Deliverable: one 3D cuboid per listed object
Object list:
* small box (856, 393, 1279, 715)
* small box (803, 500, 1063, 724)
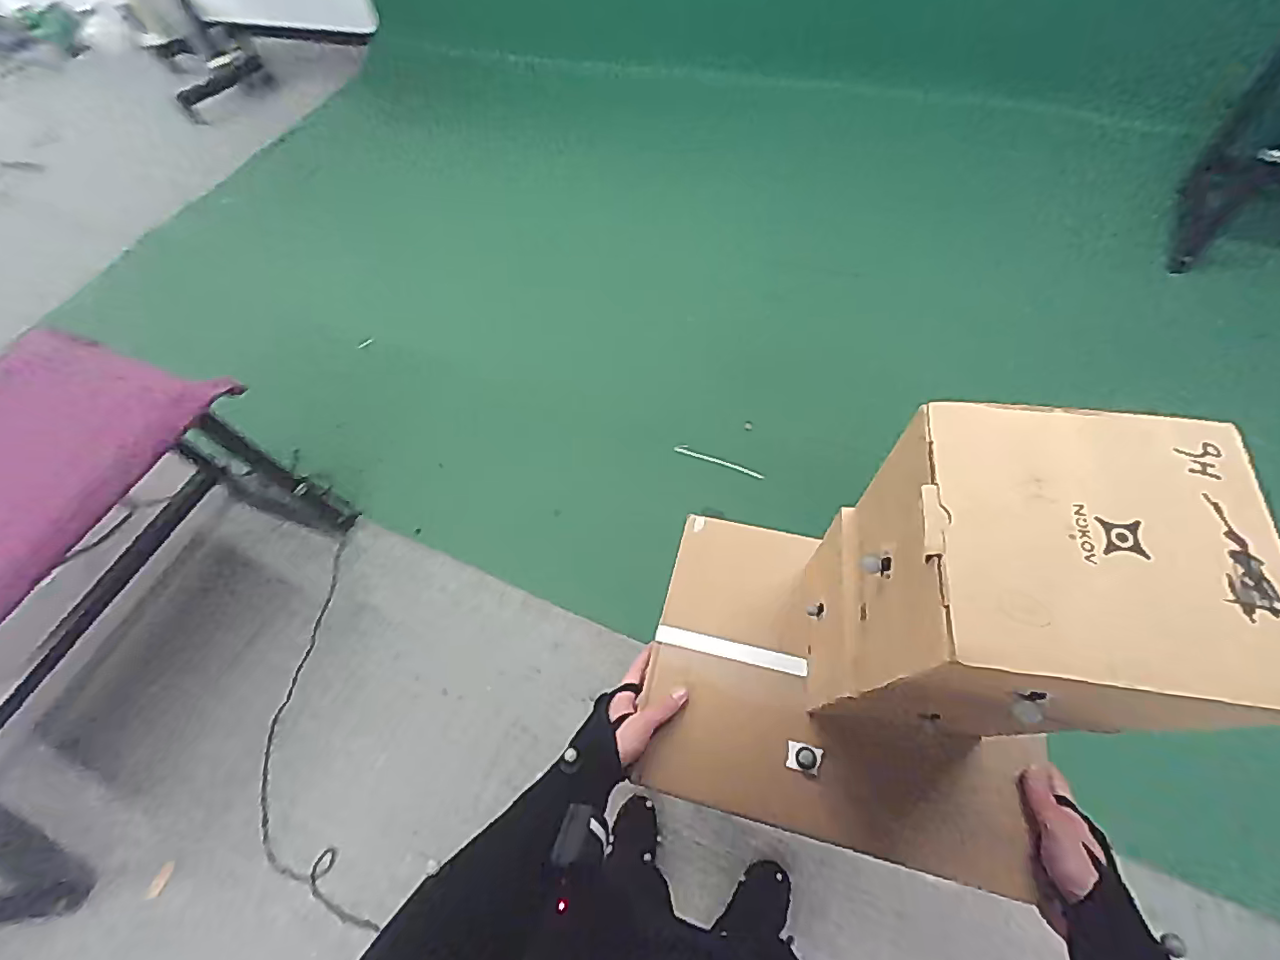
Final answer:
[{"bbox_3d":[0.255,0.060,0.373,0.179,0.176,0.168,5,64,9],"label":"small box"},{"bbox_3d":[0.258,0.133,0.519,0.179,0.176,0.168,5,64,8],"label":"small box"}]
